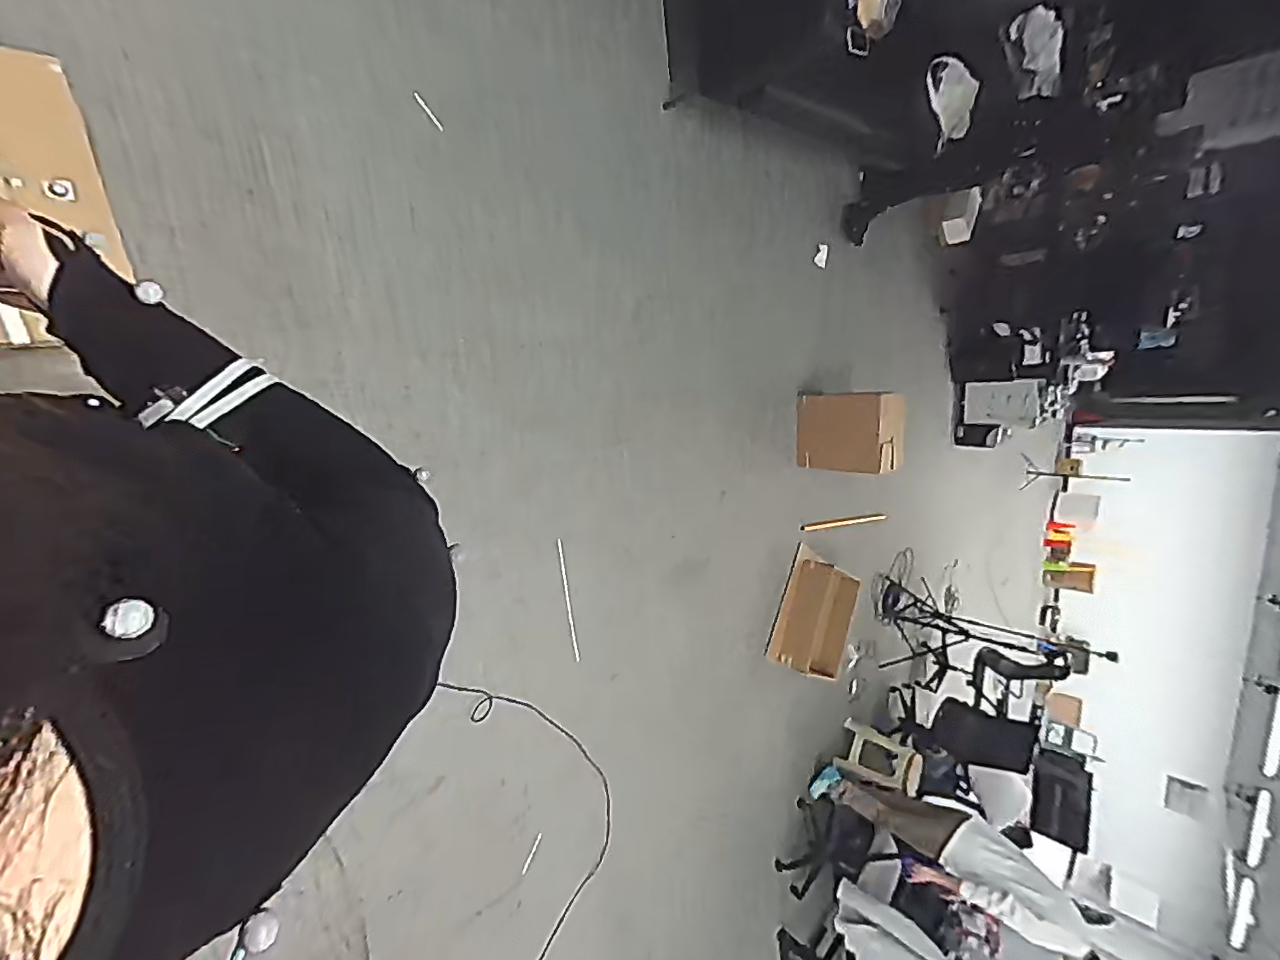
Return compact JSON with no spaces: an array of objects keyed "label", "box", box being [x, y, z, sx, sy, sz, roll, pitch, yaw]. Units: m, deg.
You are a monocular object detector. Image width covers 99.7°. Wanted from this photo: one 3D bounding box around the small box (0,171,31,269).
[{"label":"small box","box":[-0.510,-0.217,0.314,0.168,0.176,0.179,-23,116,-39]}]
